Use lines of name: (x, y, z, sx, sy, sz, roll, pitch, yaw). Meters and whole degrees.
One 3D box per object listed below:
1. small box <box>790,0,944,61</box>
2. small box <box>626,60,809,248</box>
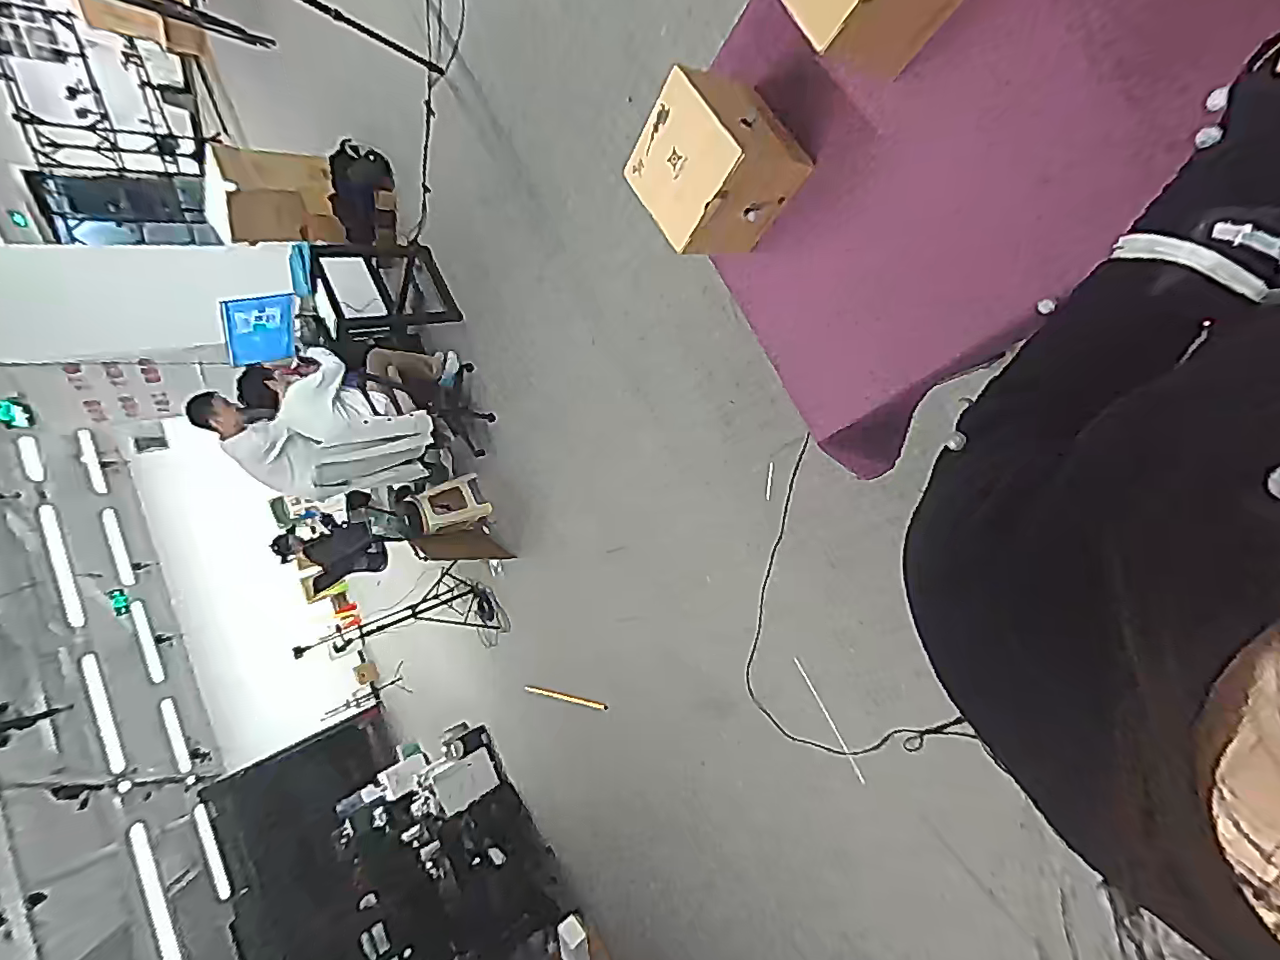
small box: (0.257, -0.599, 0.585, 0.168, 0.176, 0.179, -39, 75, 50)
small box: (0.116, -0.478, 0.812, 0.179, 0.176, 0.168, 59, 141, 13)
